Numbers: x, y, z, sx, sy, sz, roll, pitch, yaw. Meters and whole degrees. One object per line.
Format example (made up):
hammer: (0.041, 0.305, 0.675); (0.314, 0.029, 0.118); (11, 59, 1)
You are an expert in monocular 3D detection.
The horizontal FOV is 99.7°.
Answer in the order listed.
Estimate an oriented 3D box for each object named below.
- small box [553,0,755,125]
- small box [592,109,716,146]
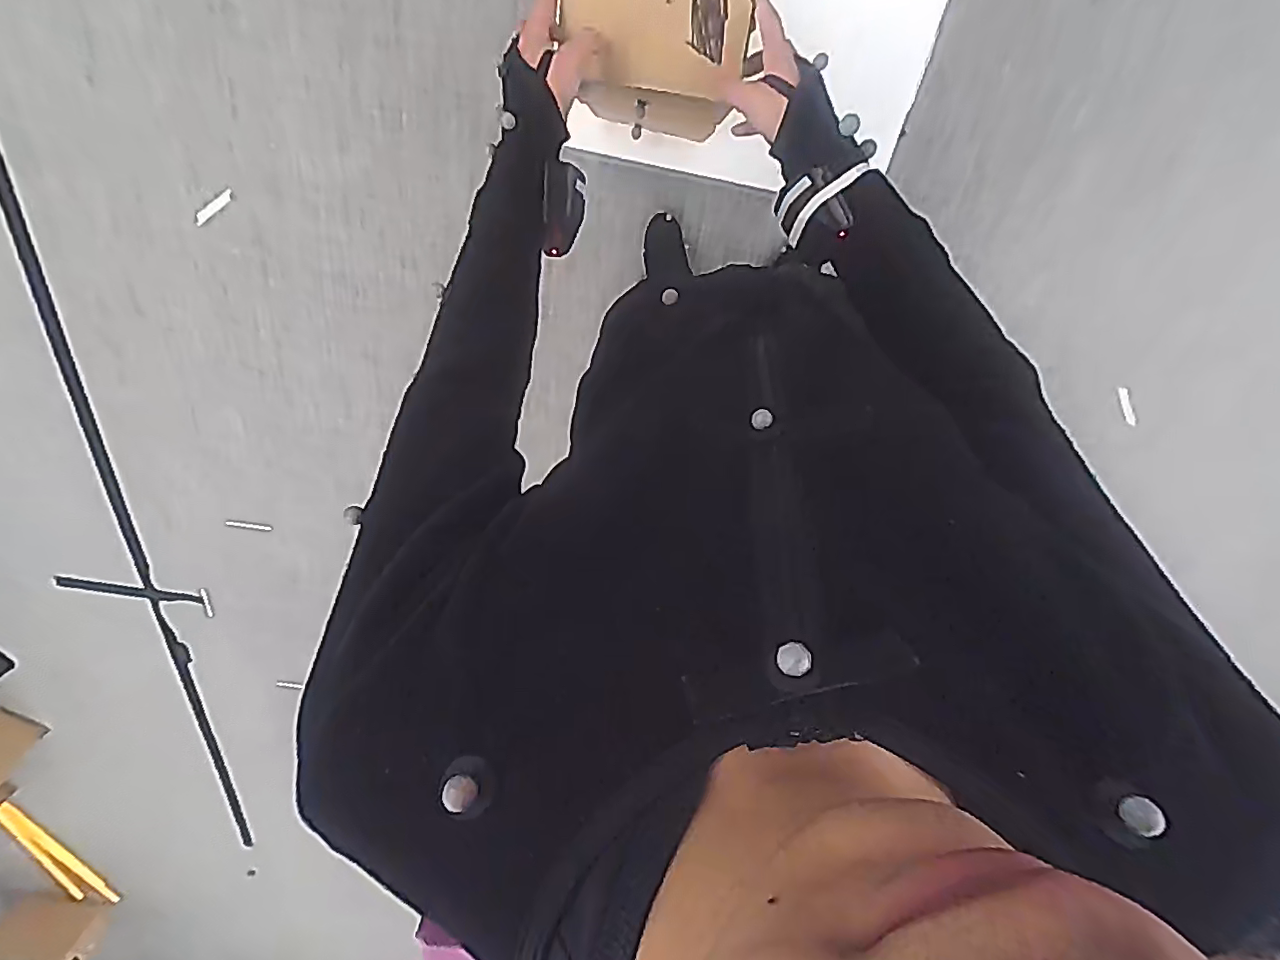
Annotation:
small box: (0.018, -0.470, 0.542); (0.179, 0.176, 0.168); (8, 117, -1)
small box: (0.026, -0.546, 0.687); (0.168, 0.176, 0.179); (11, 118, -5)
